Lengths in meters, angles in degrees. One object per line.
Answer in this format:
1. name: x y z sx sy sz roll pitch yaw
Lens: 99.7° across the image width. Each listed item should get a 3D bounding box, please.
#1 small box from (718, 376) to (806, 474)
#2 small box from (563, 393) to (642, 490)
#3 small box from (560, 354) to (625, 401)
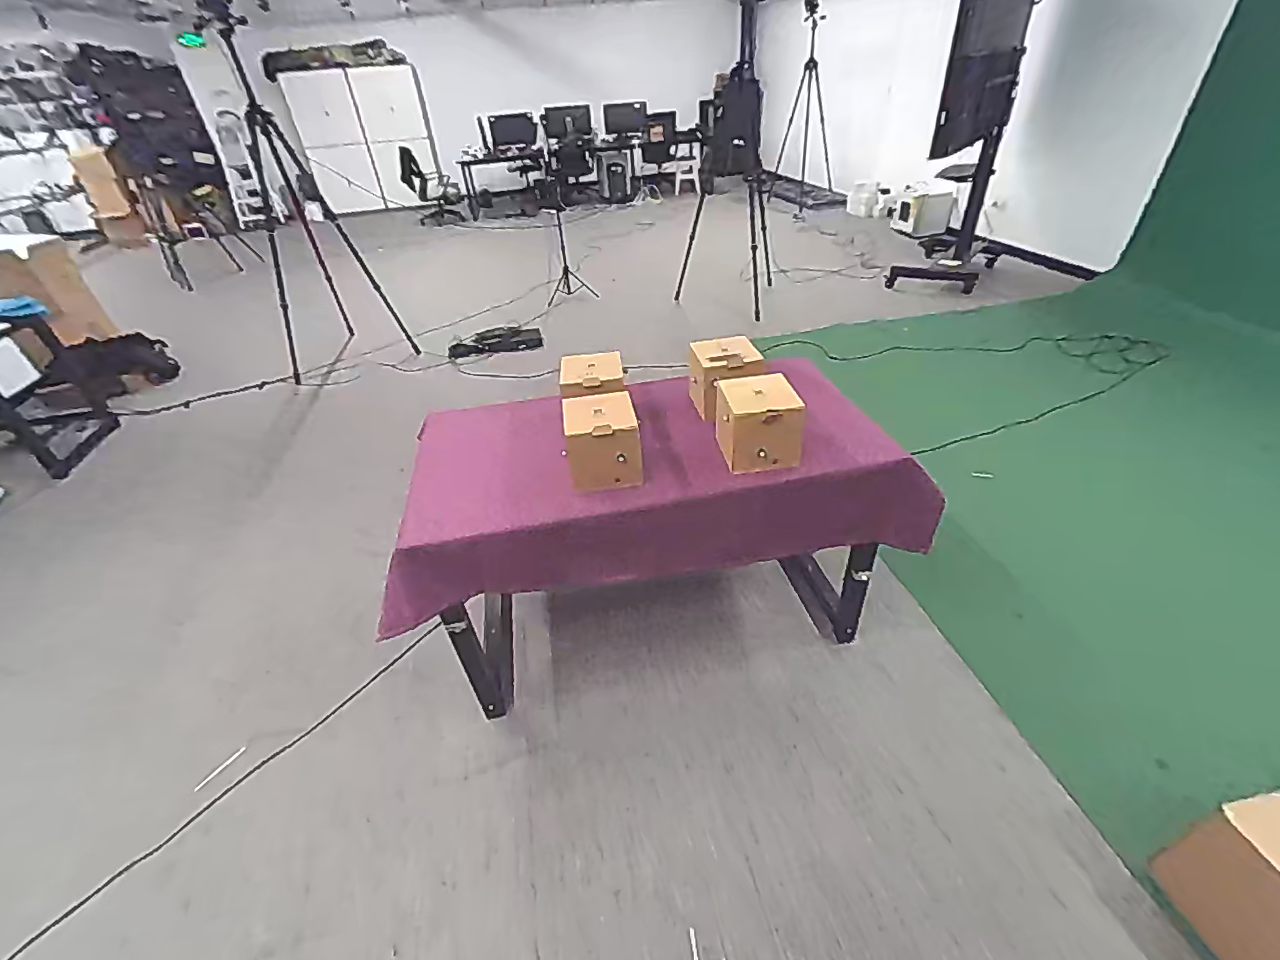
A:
1. small box: 0.287 -0.135 1.318 0.168 0.176 0.179 -7 37 -2
2. small box: -0.089 -0.087 1.300 0.168 0.176 0.179 -8 36 -5
3. small box: -0.123 -0.232 1.496 0.168 0.176 0.179 -6 37 -1
